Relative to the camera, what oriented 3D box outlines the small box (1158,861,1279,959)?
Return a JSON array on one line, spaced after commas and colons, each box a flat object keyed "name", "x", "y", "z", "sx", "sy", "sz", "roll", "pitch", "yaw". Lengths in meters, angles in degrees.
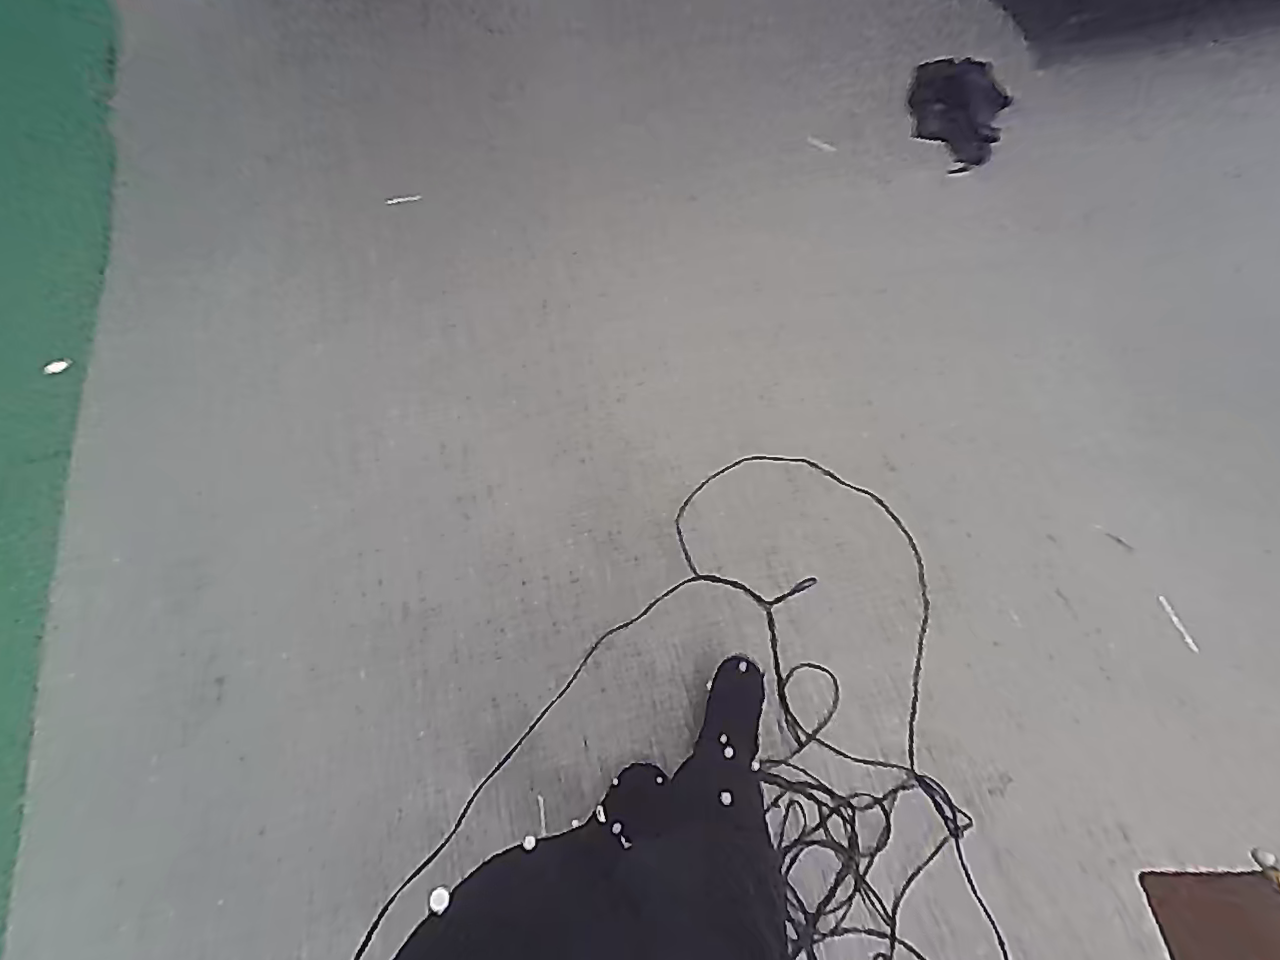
[{"name": "small box", "x": 0.467, "y": 0.328, "z": 0.317, "sx": 0.179, "sy": 0.176, "sz": 0.168, "roll": -8, "pitch": 53, "yaw": 11}]
